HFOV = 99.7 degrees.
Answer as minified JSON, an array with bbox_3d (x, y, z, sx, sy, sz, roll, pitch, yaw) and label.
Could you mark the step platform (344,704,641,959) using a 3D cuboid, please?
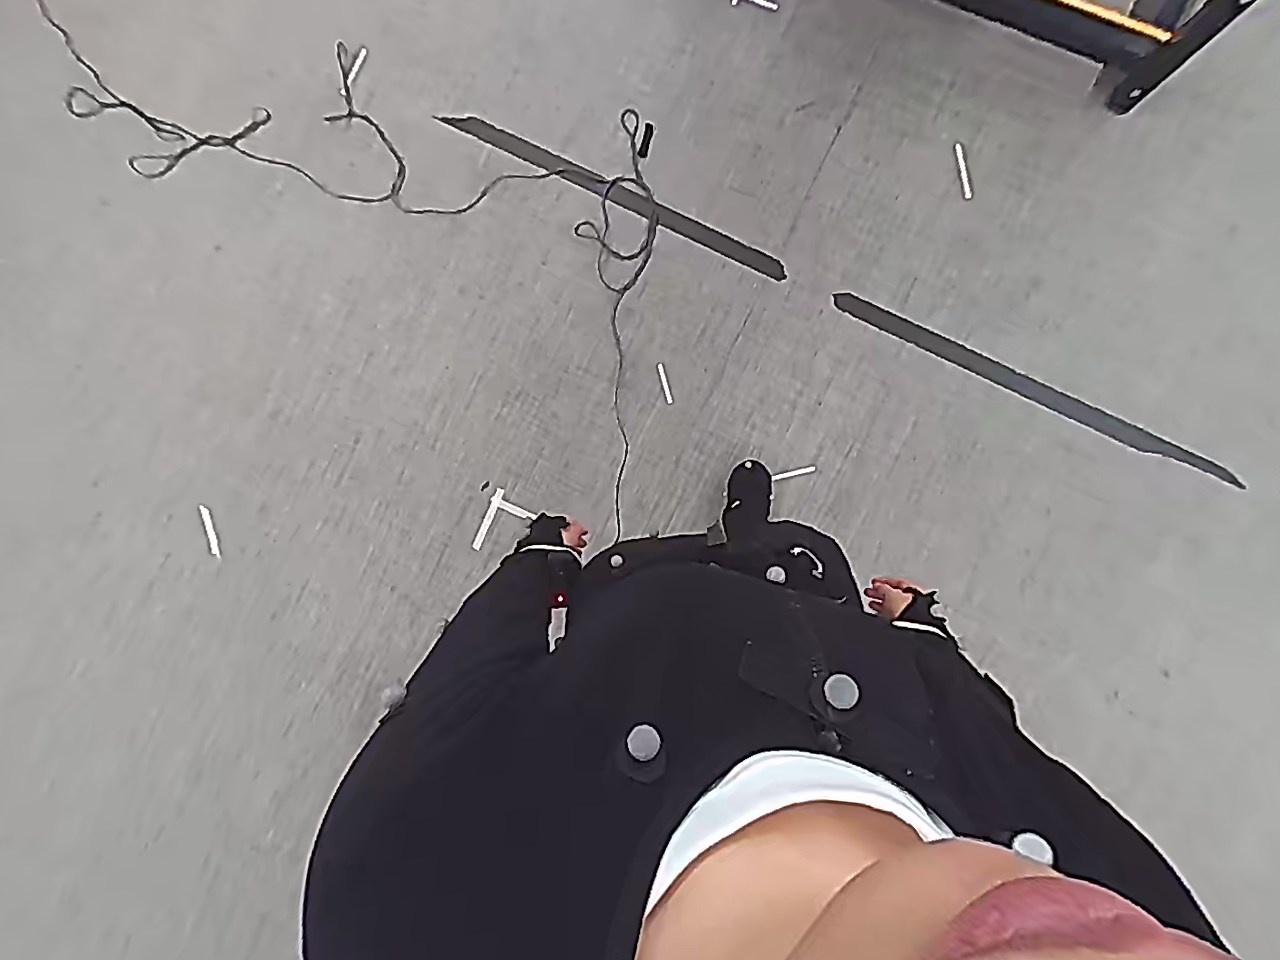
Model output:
[{"bbox_3d":[-0.347,0.847,1.312,0.684,0.204,0.286,26,91,4],"label":"step platform"}]
